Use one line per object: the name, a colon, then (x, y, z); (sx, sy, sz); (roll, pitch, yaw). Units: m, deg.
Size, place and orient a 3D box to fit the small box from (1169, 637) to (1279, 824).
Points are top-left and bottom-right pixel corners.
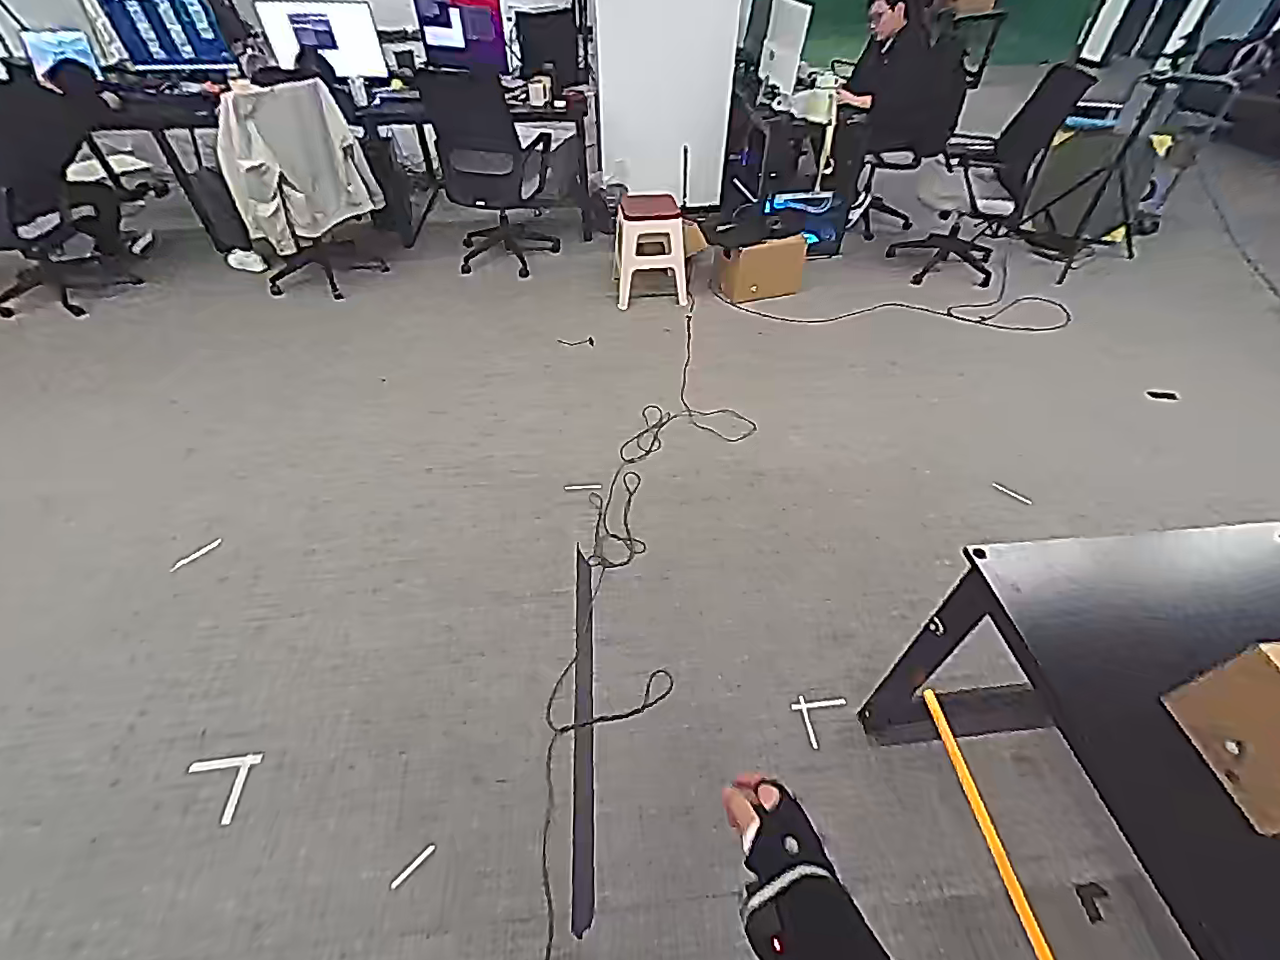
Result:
small box: (0.831, 0.302, 0.659); (0.179, 0.176, 0.168); (-3, 46, -3)
